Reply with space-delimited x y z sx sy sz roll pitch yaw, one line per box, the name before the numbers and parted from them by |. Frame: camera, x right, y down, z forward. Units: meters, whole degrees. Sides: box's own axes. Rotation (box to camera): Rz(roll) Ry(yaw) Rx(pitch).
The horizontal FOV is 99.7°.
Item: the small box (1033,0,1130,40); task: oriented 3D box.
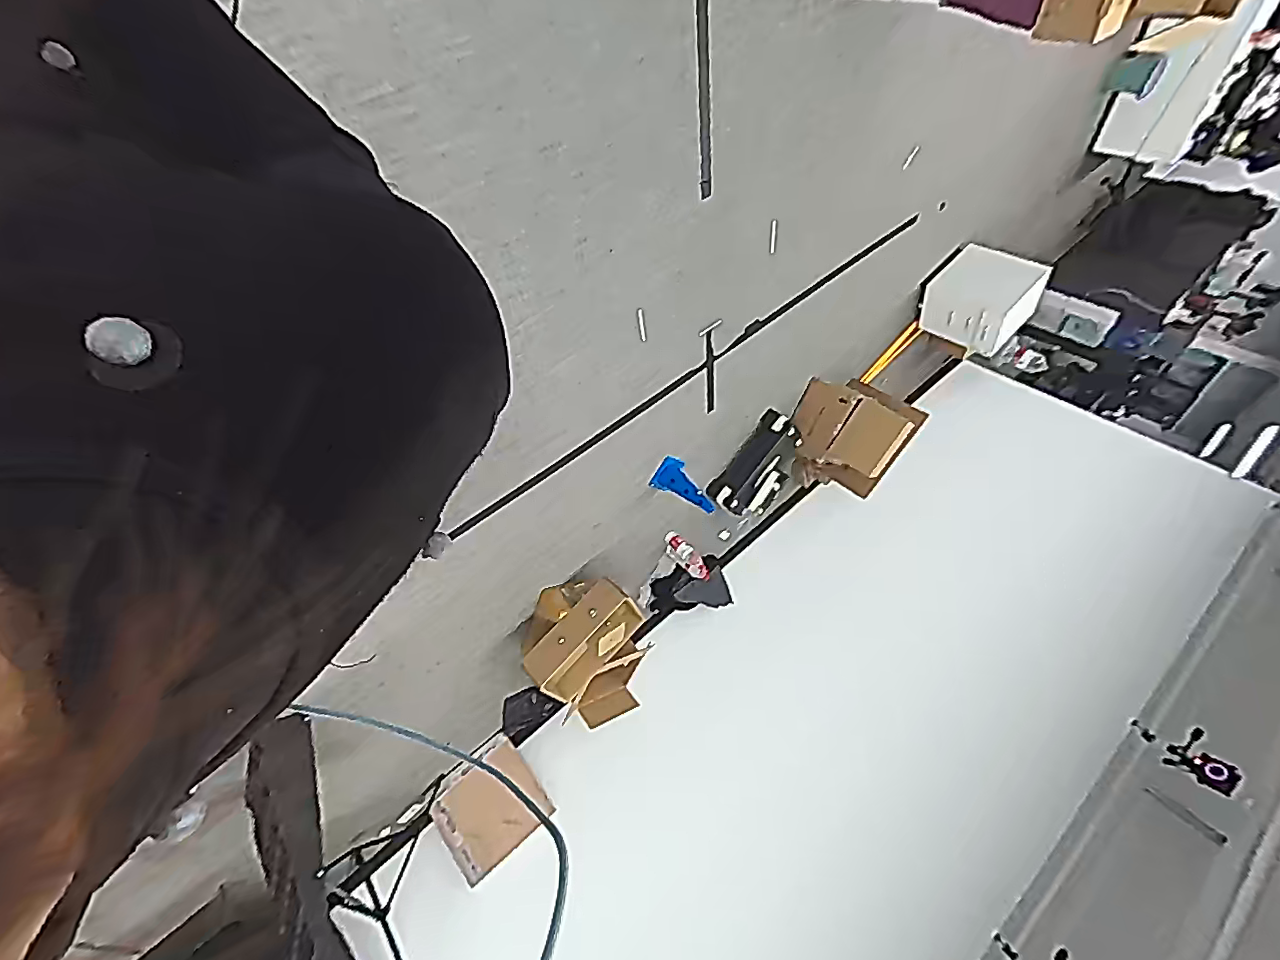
small box | 1.250 -1.352 1.504 0.179 0.176 0.168 -35 143 -23
